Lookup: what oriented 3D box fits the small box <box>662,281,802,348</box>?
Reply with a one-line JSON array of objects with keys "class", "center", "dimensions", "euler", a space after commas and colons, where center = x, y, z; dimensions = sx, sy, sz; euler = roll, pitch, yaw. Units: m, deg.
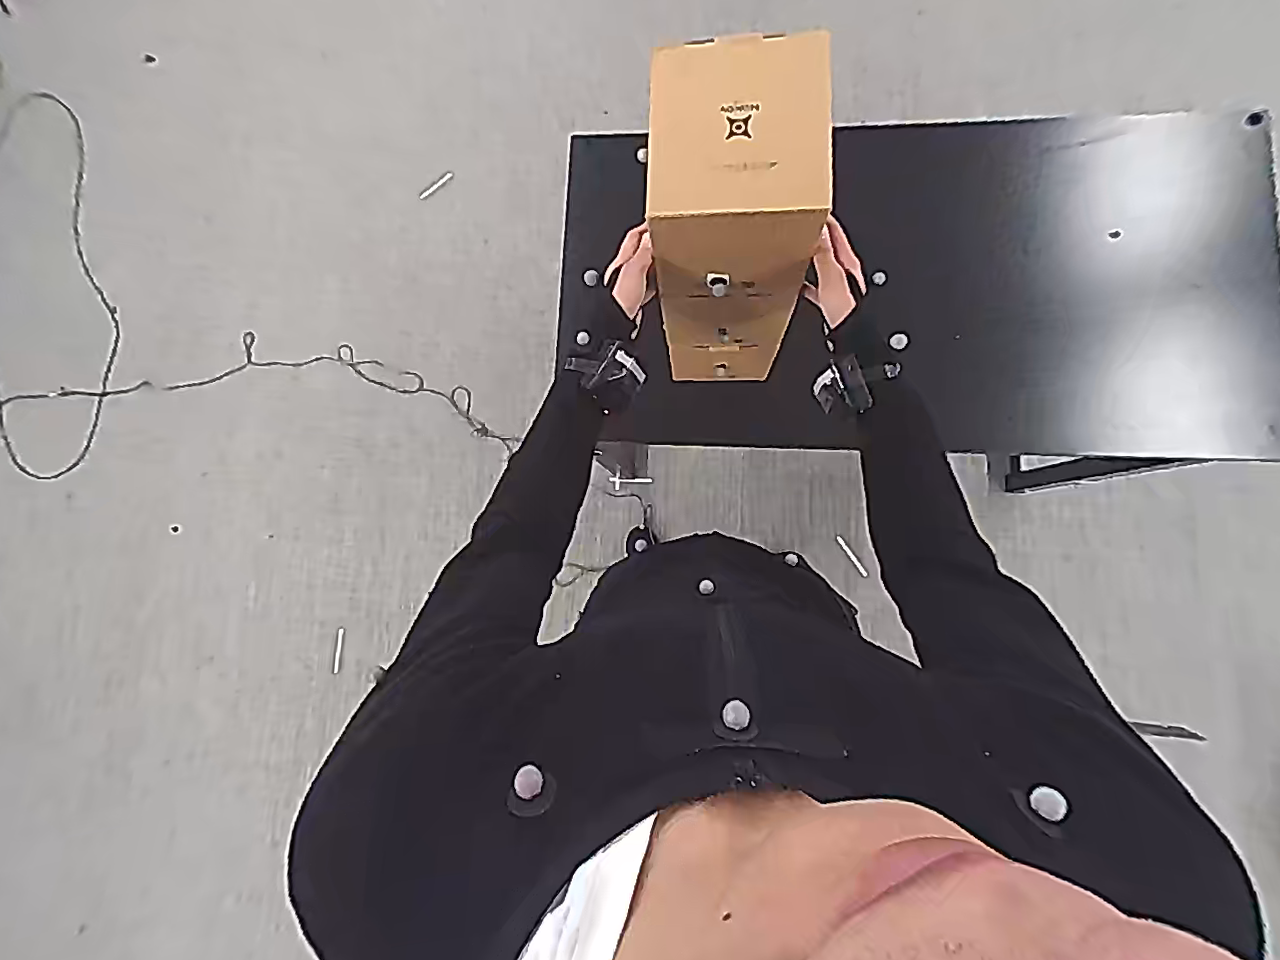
[{"class": "small box", "center": [0.118, -0.291, 0.721], "dimensions": [0.168, 0.176, 0.179], "euler": [1, 83, 7]}]

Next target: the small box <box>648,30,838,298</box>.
[{"class": "small box", "center": [0.100, -0.309, 0.560], "dimensions": [0.168, 0.176, 0.179], "euler": [1, 84, 7]}]

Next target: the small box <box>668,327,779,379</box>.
[{"class": "small box", "center": [0.136, -0.269, 0.883], "dimensions": [0.168, 0.176, 0.179], "euler": [1, 84, 6]}]
